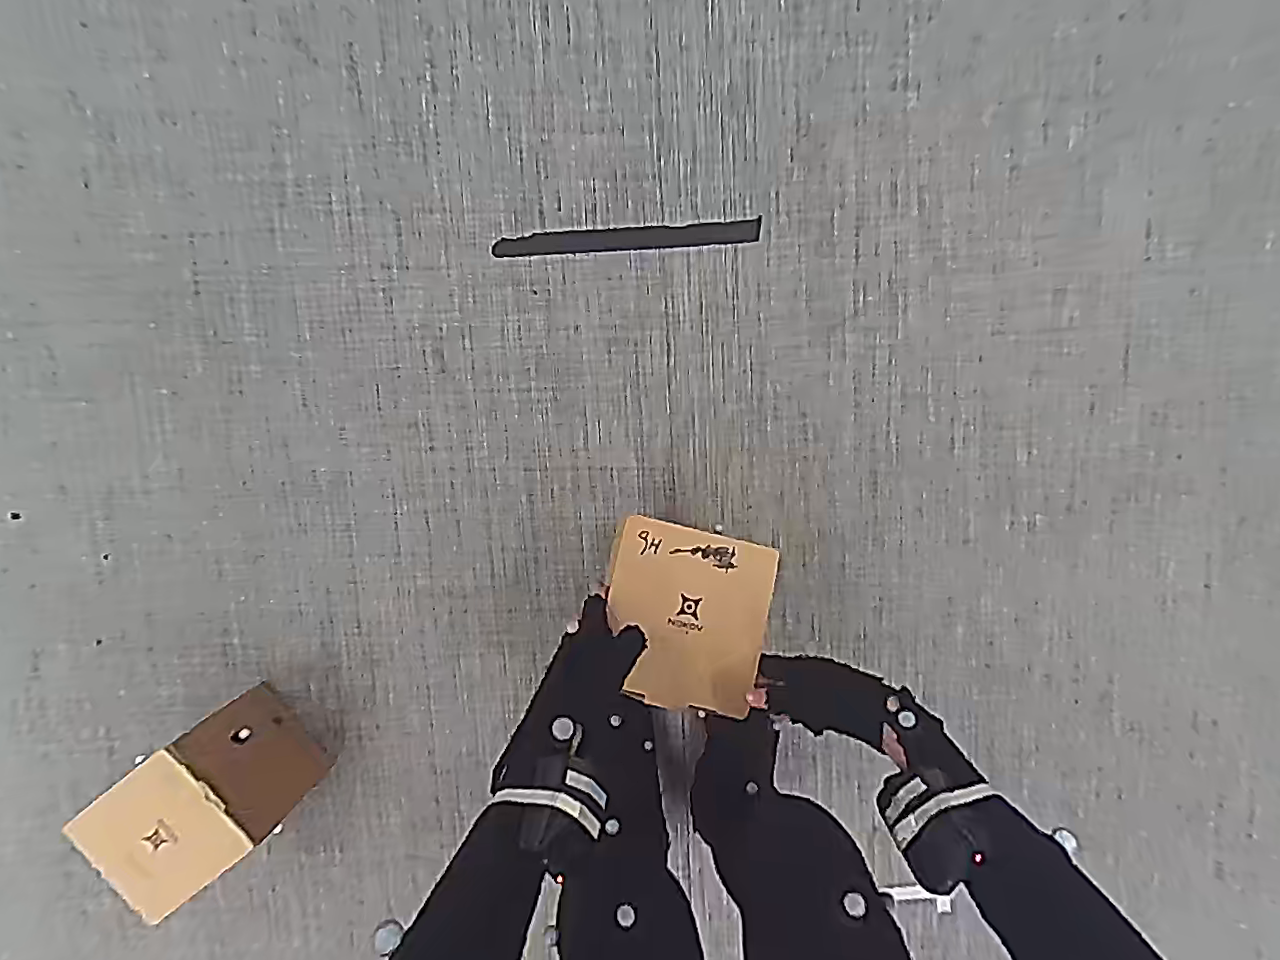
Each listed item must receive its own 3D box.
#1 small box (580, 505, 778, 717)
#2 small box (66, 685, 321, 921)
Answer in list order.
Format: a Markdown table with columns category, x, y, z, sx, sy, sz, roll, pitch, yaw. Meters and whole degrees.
| category | x | y | z | sx | sy | sz | roll | pitch | yaw |
| --- | --- | --- | --- | --- | --- | --- | --- | --- | --- |
| small box | 0.036 | 0.137 | 0.612 | 0.168 | 0.176 | 0.179 | 15 | 82 | -3 |
| small box | -0.573 | 0.415 | 0.728 | 0.179 | 0.176 | 0.168 | -39 | 93 | 4 |
